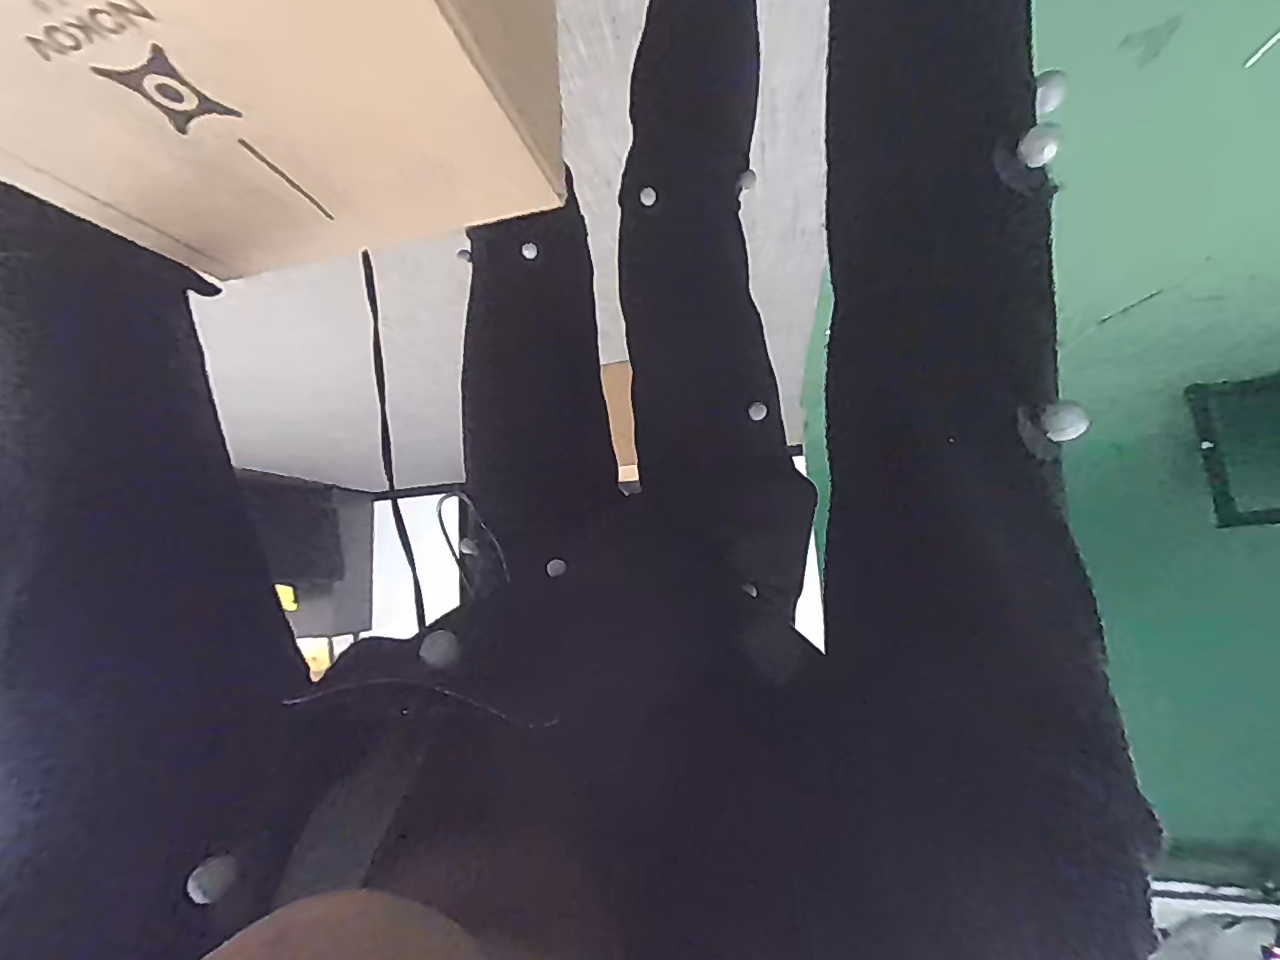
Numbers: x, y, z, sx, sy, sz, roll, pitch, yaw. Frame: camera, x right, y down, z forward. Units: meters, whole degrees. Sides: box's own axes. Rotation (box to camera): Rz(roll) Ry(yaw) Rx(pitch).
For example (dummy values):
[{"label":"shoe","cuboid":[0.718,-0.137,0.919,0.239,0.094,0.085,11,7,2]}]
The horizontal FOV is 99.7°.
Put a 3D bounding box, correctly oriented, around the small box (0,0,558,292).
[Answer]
[{"label":"small box","cuboid":[-0.134,-0.182,0.148,0.168,0.176,0.179,-6,171,14]}]
